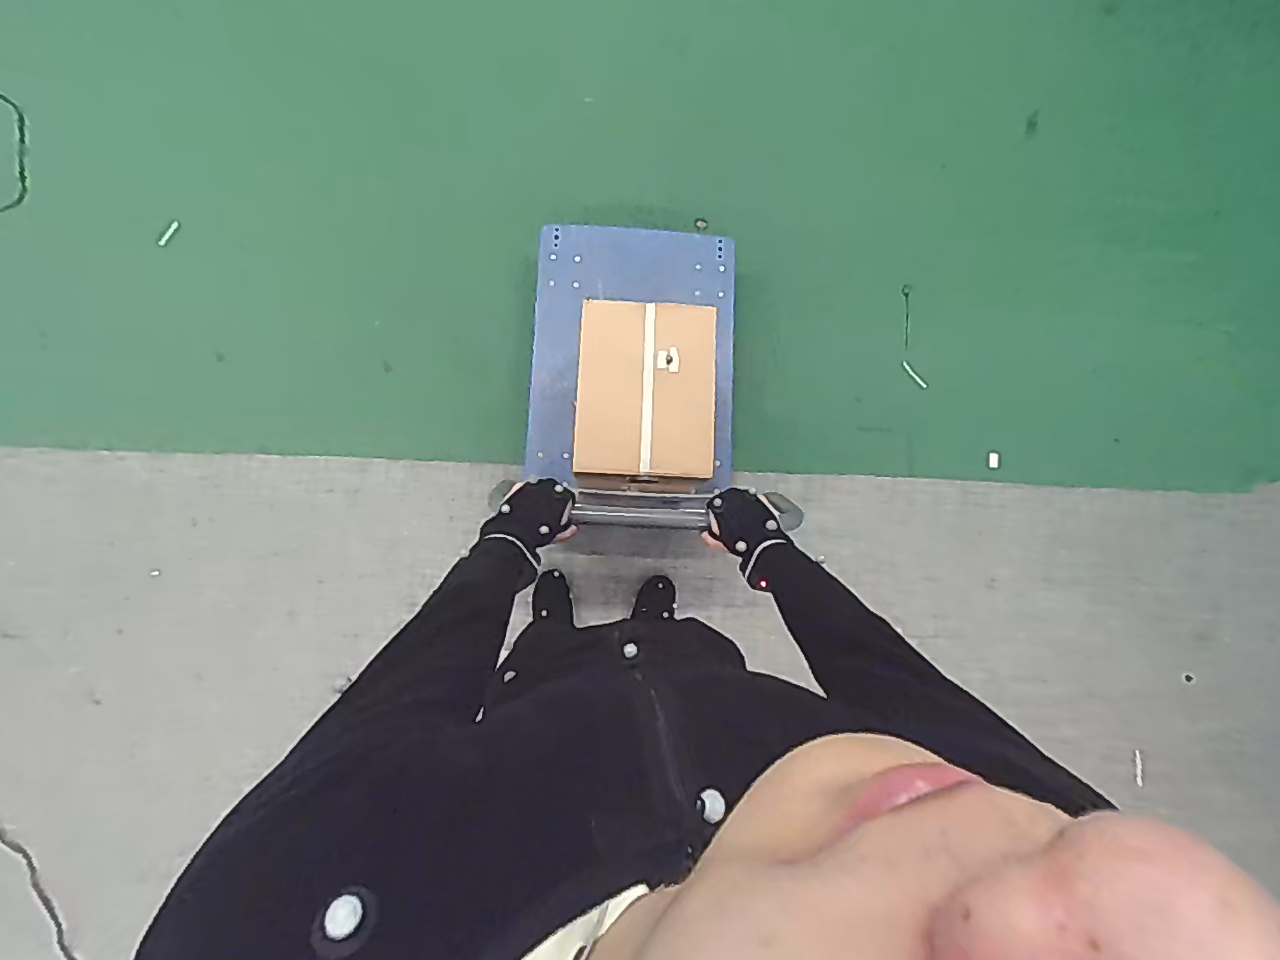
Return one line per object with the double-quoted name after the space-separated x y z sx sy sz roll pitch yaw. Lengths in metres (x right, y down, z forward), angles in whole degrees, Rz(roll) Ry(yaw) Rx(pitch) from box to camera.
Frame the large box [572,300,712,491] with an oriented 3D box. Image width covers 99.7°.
0.000 -0.189 1.362 0.320 0.320 0.408 3 81 -4 "large box"
